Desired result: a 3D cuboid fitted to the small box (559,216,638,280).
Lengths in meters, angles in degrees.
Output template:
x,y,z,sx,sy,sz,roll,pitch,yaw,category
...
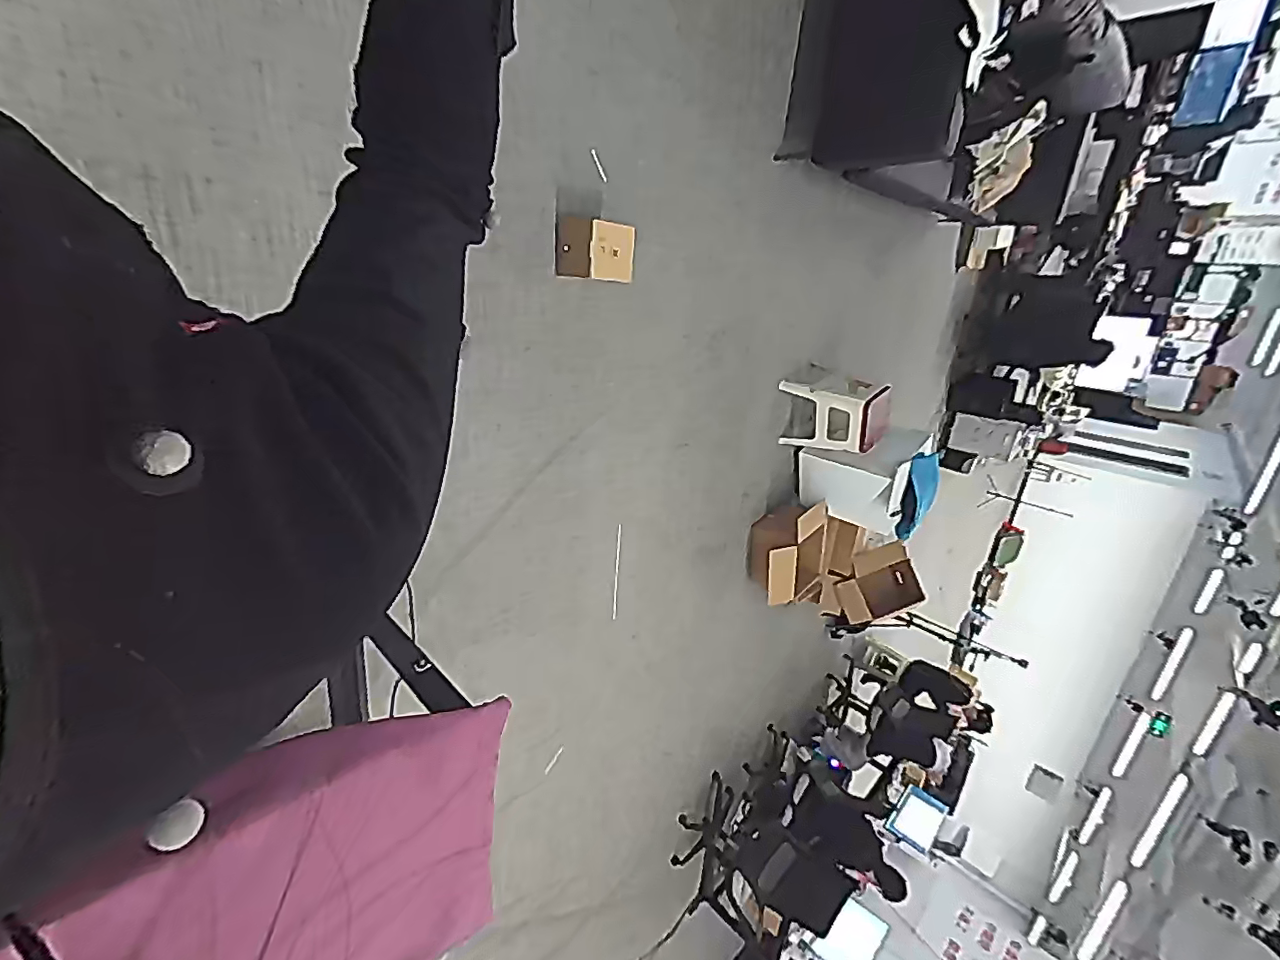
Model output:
x,y,z,sx,sy,sz,roll,pitch,yaw,category
-0.132,-0.727,1.699,0.179,0.176,0.168,-14,117,-43,small box
